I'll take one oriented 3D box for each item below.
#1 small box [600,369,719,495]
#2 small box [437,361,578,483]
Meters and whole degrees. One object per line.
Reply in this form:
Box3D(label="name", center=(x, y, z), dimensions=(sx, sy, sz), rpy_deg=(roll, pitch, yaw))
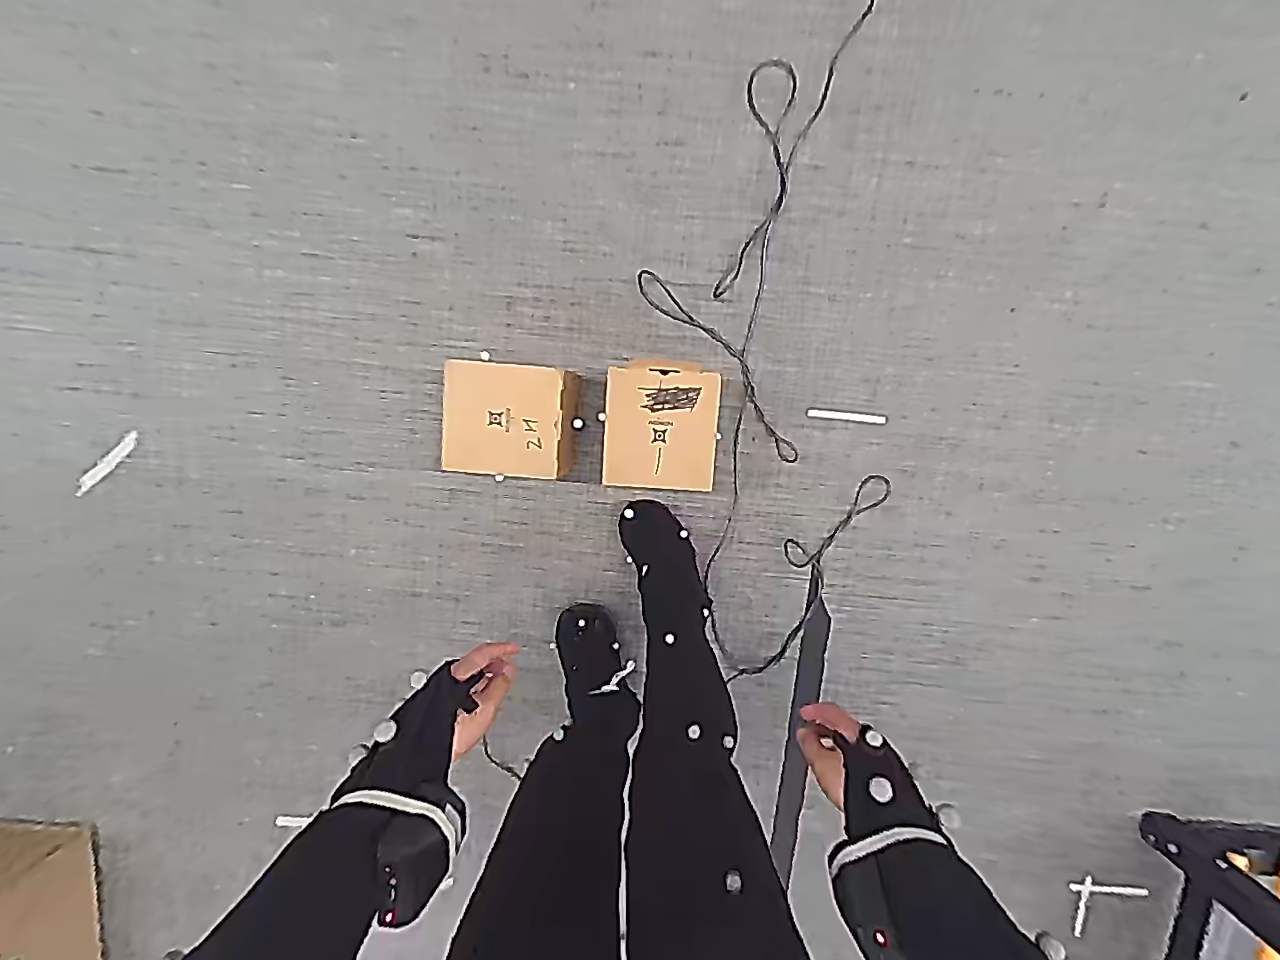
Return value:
Box3D(label="small box", center=(0.027, -0.080, 0.866), dimensions=(0.168, 0.176, 0.179), rpy_deg=(4, 99, 0))
Box3D(label="small box", center=(-0.204, -0.094, 0.867), dimensions=(0.179, 0.176, 0.168), rpy_deg=(6, 99, 1))
